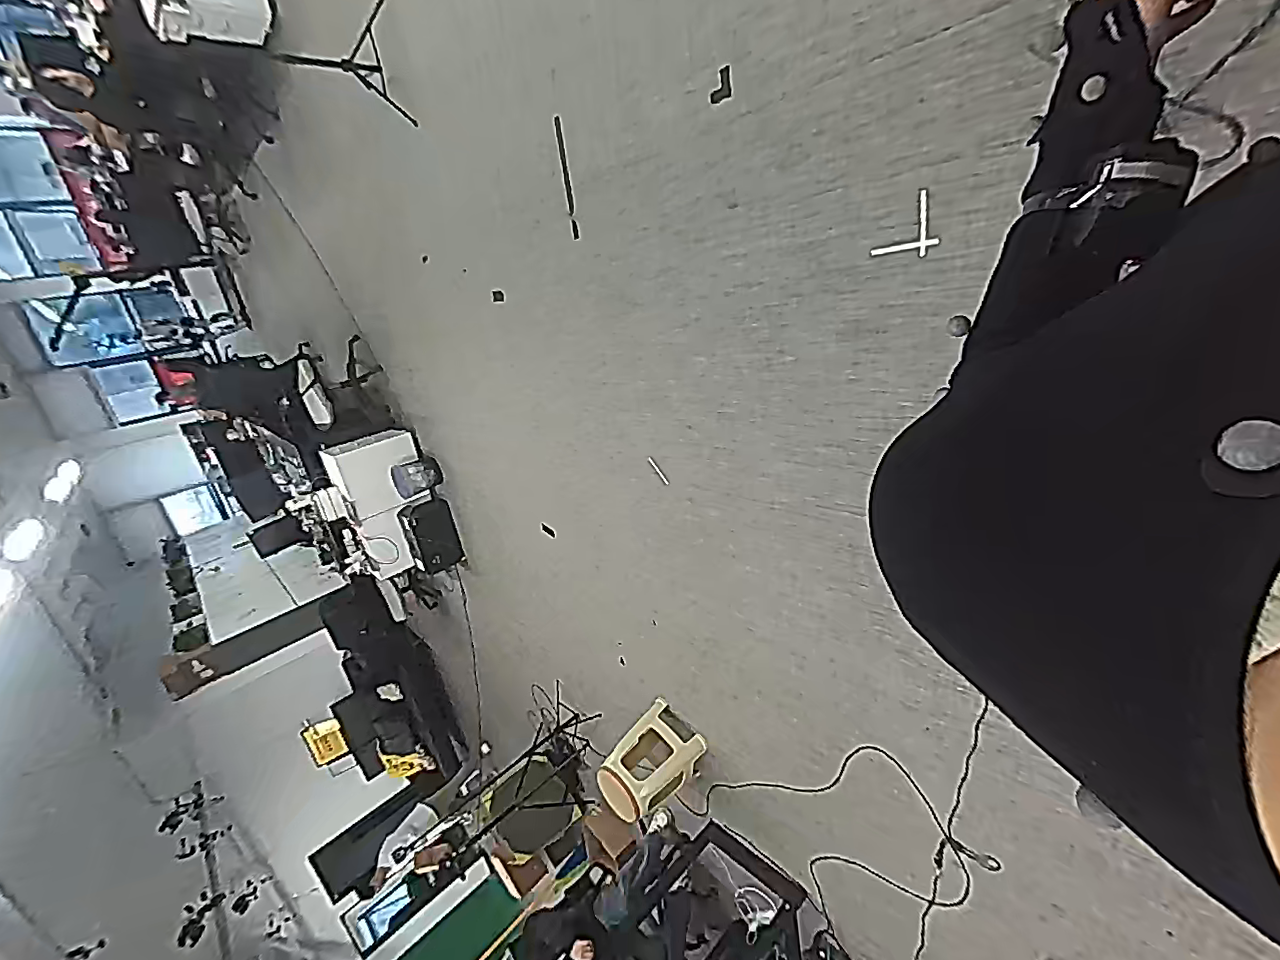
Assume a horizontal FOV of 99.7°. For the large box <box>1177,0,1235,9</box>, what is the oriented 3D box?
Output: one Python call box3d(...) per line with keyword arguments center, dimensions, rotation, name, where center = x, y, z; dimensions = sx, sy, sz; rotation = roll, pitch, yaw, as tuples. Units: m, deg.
box3d(center=(0.399, -0.369, 0.101), dimensions=(0.408, 0.320, 0.320), rotation=(12, 127, 41), name="large box")
